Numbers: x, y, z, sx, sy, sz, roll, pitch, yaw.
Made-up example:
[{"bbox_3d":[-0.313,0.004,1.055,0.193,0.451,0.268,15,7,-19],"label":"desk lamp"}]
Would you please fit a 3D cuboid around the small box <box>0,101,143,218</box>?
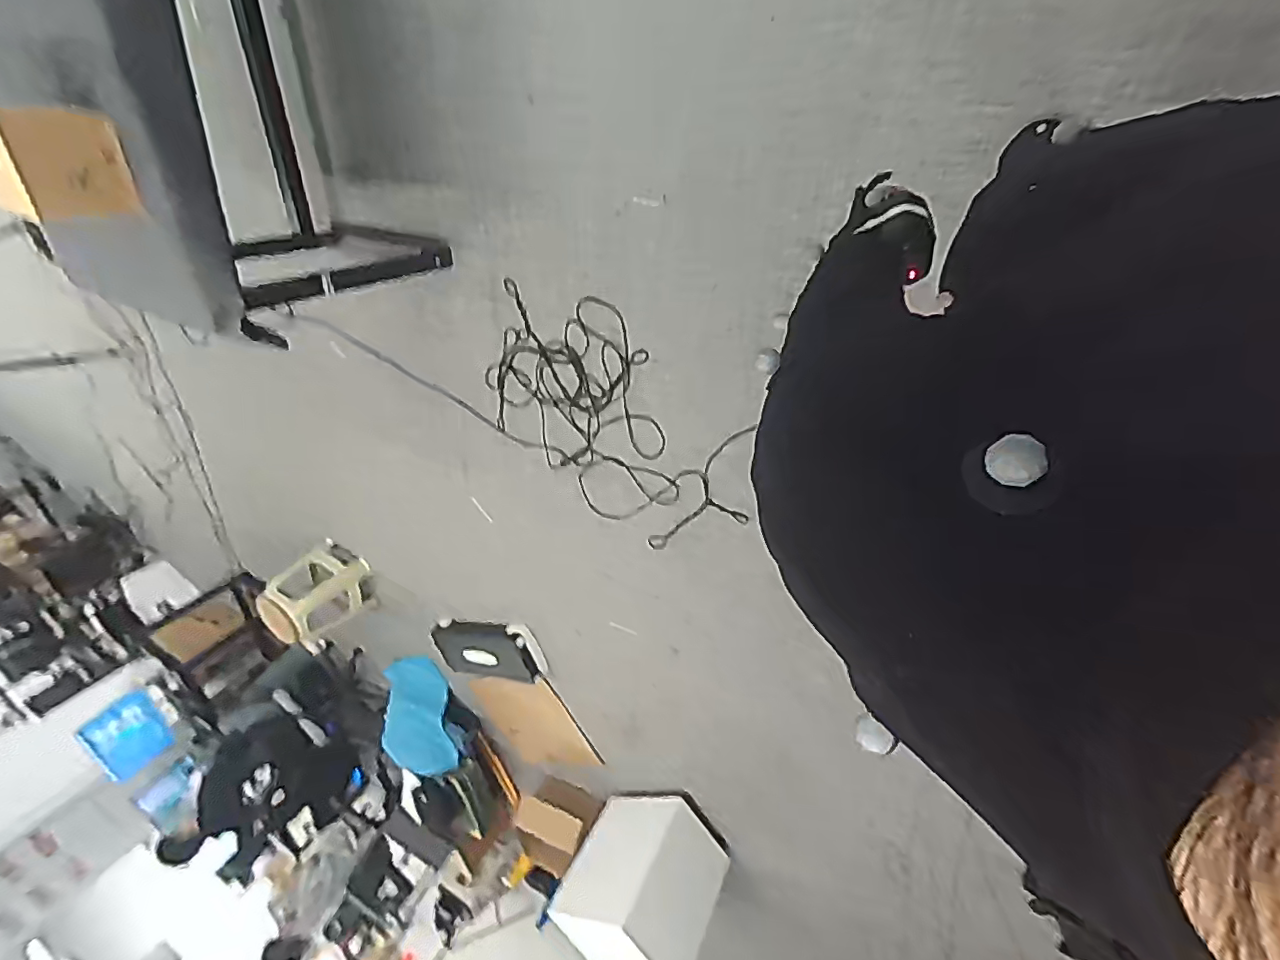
[{"bbox_3d":[-1.082,-0.598,1.006,0.179,0.176,0.168,22,127,21],"label":"small box"}]
